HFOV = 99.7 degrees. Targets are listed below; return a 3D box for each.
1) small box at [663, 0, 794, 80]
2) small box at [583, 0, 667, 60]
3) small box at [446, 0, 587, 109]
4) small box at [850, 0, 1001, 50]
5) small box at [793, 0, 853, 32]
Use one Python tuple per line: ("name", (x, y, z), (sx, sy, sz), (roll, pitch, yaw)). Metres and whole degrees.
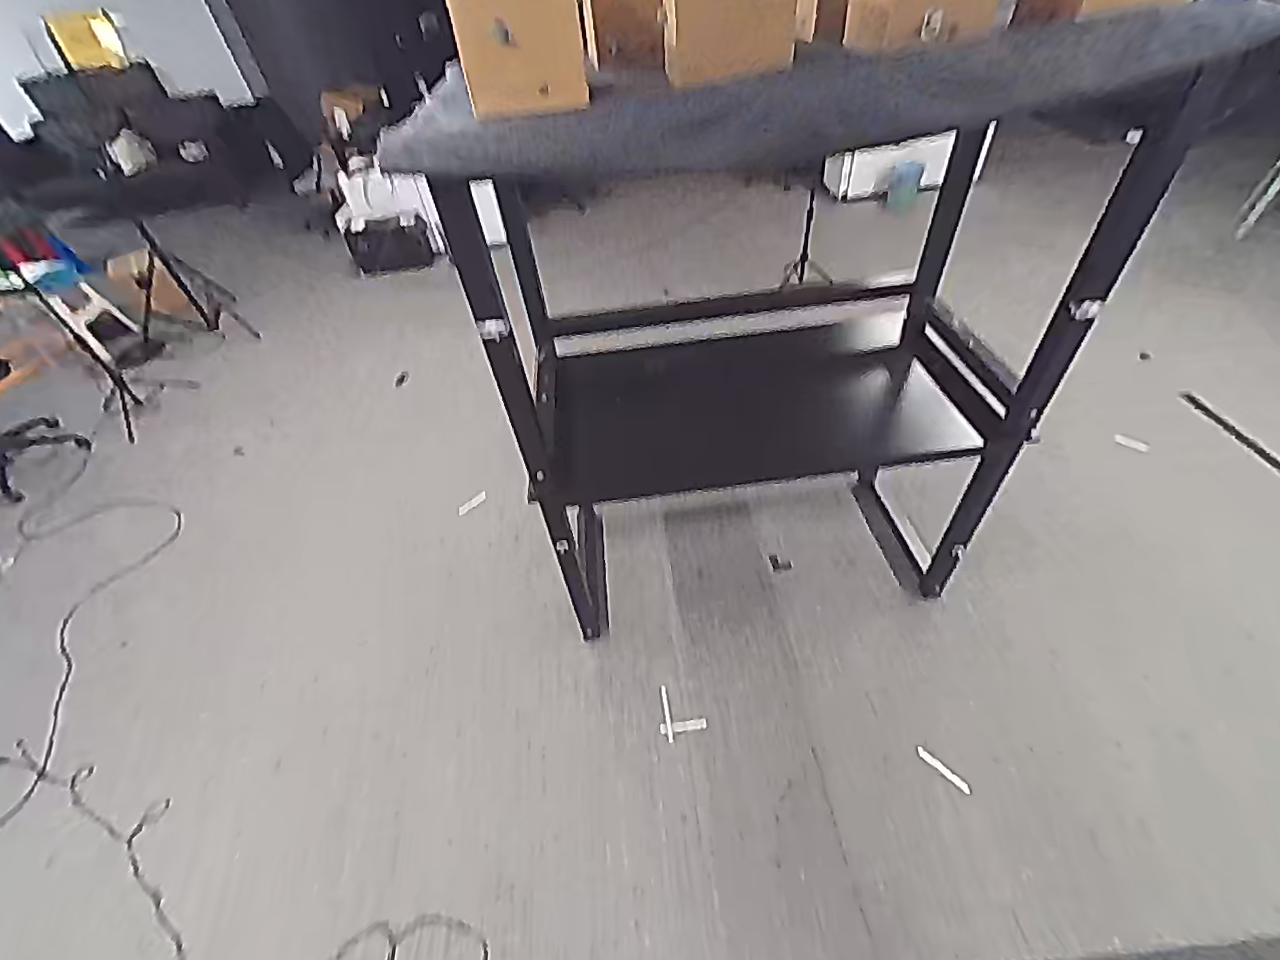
("small box", (0.125, -0.709, 0.794), (0.179, 0.176, 0.168), (-6, 46, 1))
("small box", (-0.016, -0.876, 0.971), (0.168, 0.176, 0.179), (-10, 46, -3))
("small box", (-0.168, -0.645, 0.769), (0.168, 0.176, 0.179), (-7, 44, 0))
("small box", (0.433, -0.769, 0.814), (0.168, 0.176, 0.179), (-7, 45, 2))
("small box", (0.386, -0.938, 0.980), (0.179, 0.176, 0.168), (-7, 45, -1))
